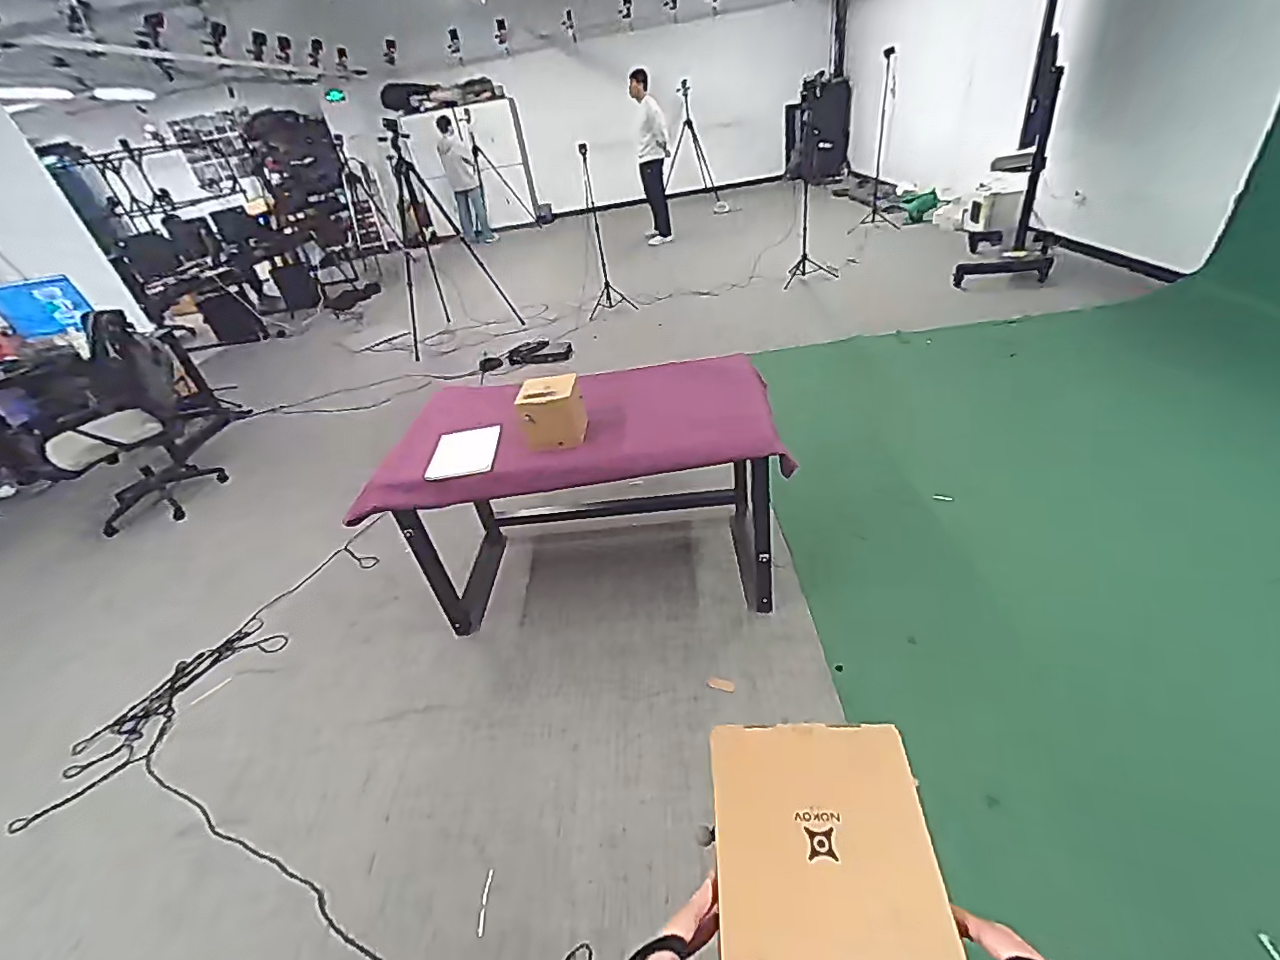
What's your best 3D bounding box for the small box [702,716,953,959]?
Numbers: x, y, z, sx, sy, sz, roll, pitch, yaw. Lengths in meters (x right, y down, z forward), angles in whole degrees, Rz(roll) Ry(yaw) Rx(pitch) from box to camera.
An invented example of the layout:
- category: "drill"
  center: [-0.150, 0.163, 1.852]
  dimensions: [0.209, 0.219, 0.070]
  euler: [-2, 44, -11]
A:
- category: "small box"
  center: [0.144, 0.333, 0.481]
  dimensions: [0.168, 0.176, 0.179]
  euler: [-4, 42, 6]
